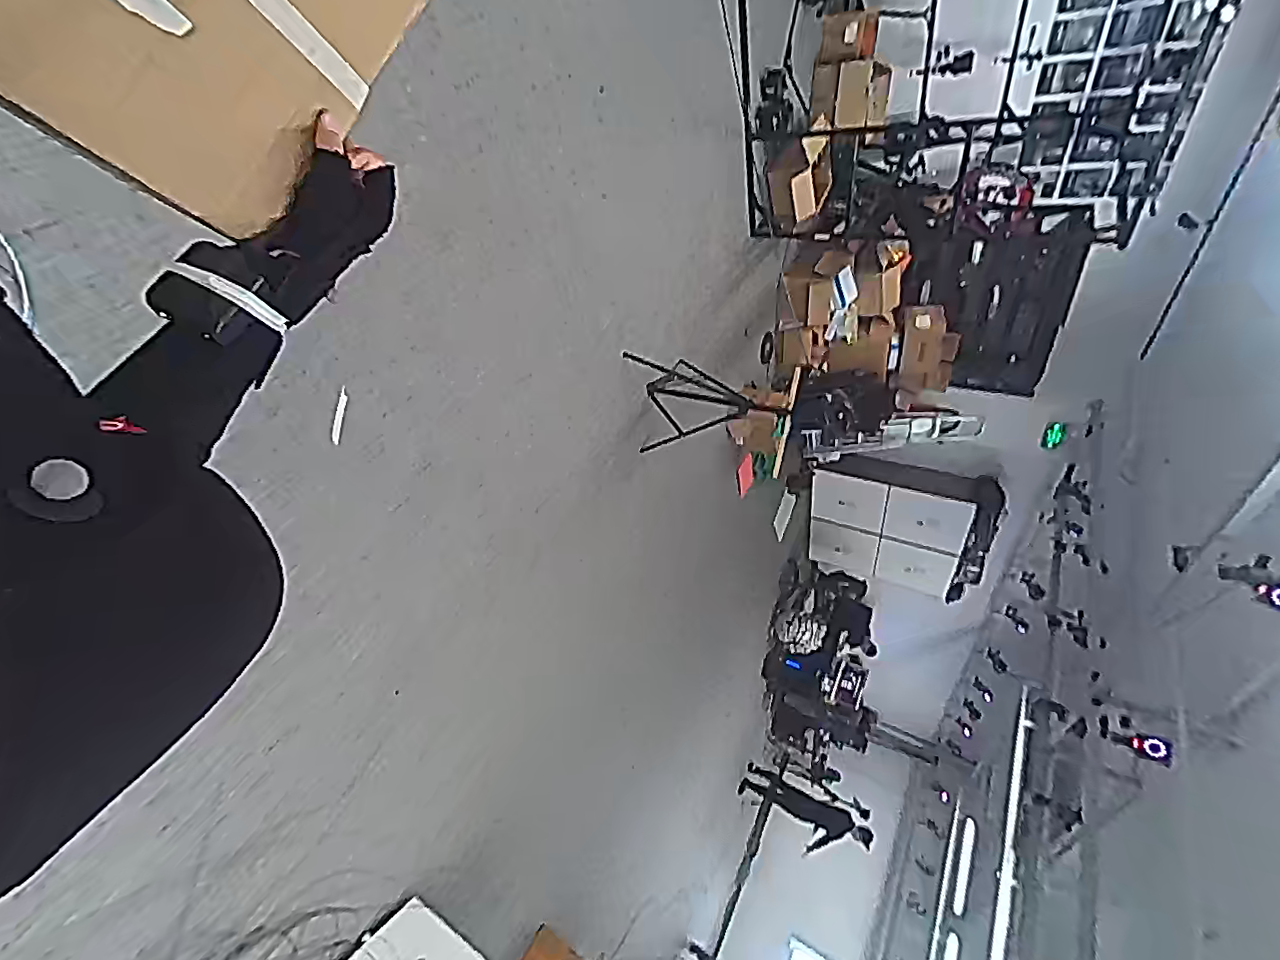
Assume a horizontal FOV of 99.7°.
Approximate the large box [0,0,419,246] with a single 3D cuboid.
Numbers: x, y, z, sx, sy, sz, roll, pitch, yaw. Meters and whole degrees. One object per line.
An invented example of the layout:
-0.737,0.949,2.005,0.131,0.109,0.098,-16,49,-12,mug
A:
-0.437,-0.441,0.361,0.320,0.320,0.408,-59,151,-2,large box
